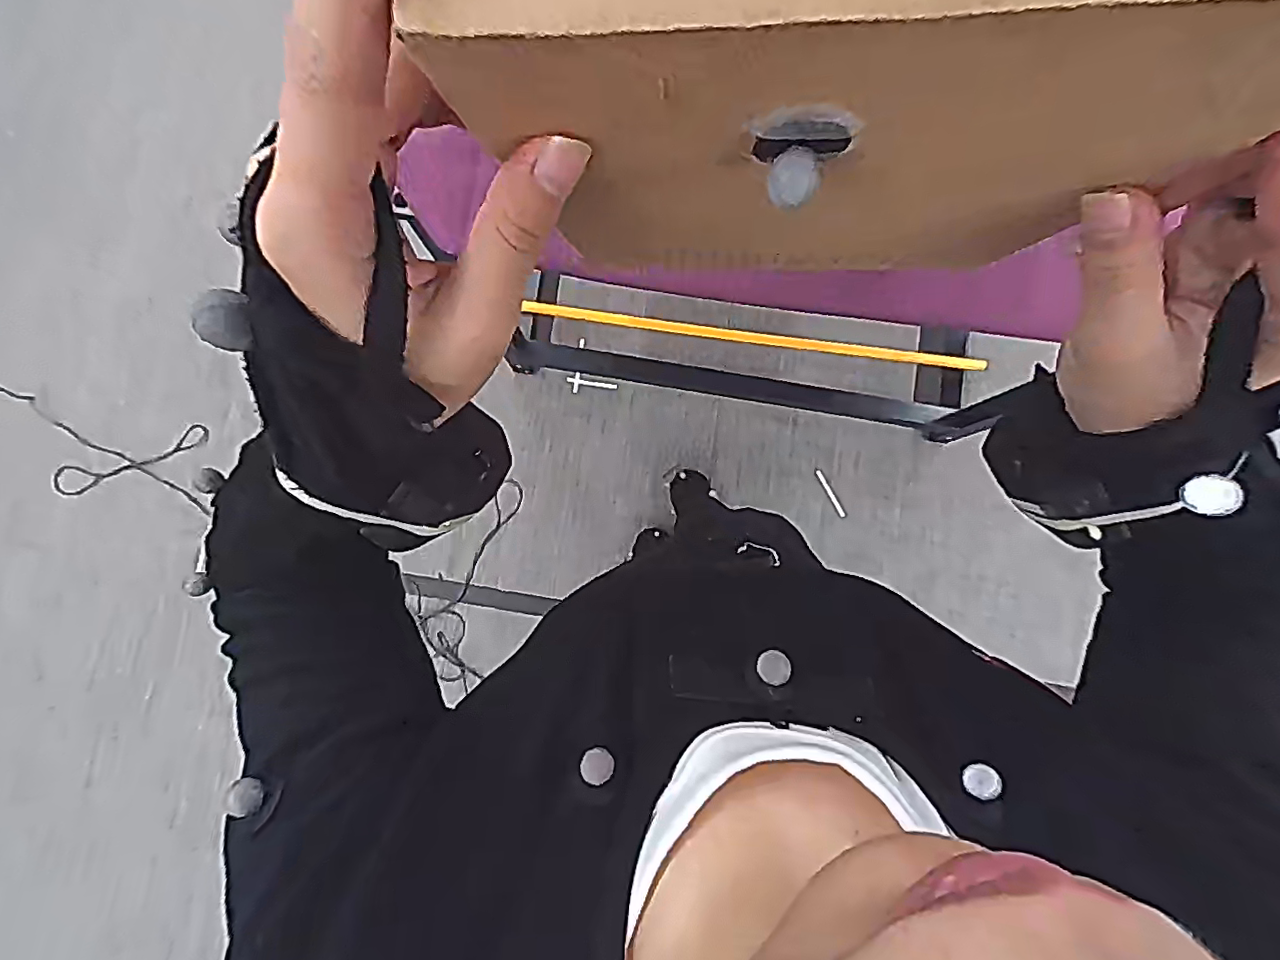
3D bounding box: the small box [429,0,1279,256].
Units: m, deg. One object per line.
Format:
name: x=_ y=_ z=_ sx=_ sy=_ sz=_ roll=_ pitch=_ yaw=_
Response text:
small box: x=0.056 y=-0.165 z=0.143 sx=0.179 sy=0.176 sz=0.168 roll=3 pitch=99 yaw=6
